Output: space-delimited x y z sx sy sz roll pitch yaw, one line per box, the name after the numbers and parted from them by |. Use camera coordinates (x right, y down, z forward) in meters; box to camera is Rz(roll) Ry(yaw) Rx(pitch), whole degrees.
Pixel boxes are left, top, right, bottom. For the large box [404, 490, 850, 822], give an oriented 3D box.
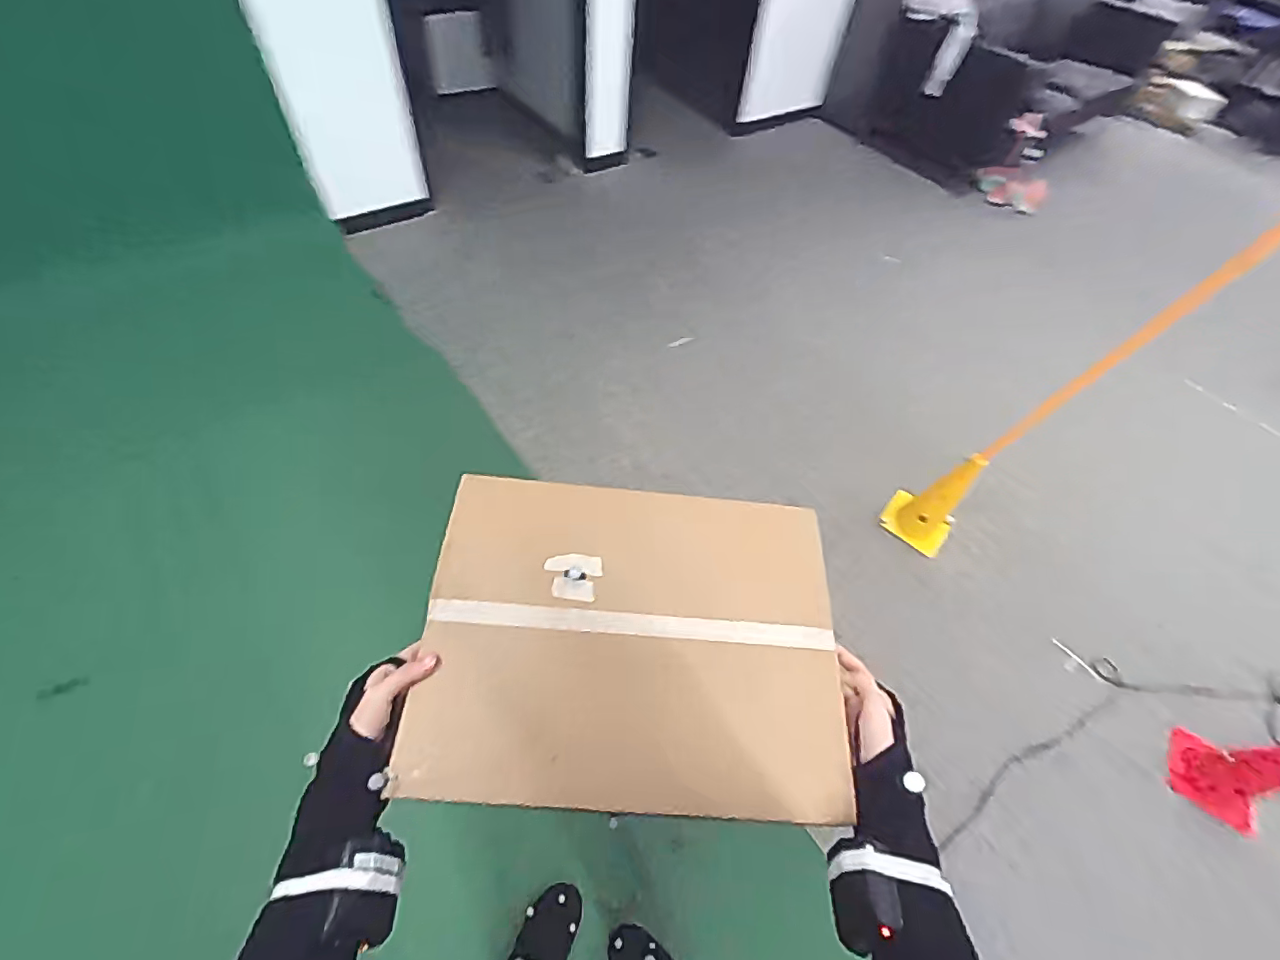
-0.010 0.232 0.679 0.408 0.320 0.320 5 58 -2 | large box
